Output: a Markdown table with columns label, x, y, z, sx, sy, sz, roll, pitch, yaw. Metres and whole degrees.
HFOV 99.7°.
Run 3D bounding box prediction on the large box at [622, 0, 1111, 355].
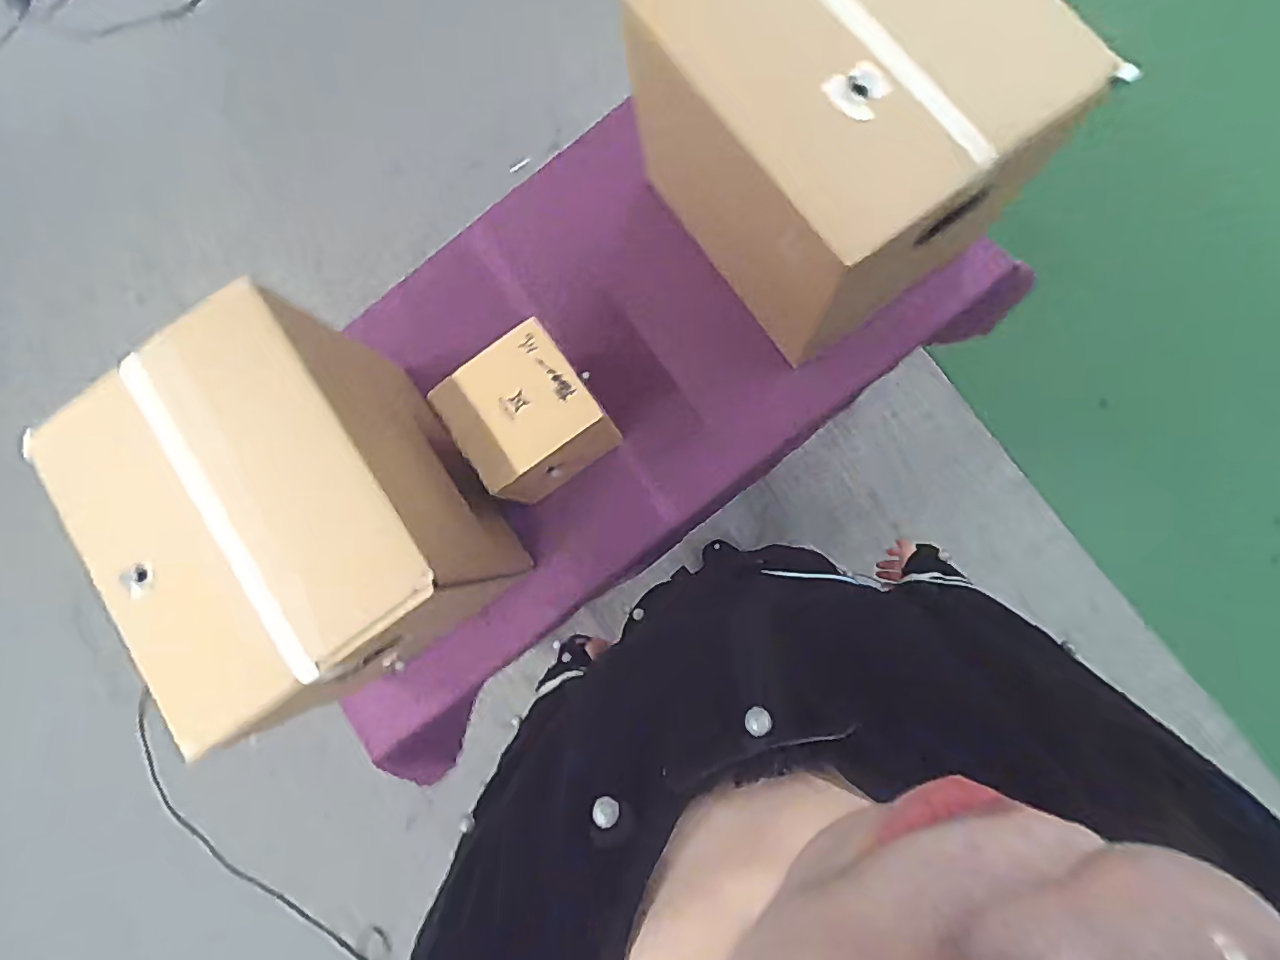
| label | x | y | z | sx | sy | sz | roll | pitch | yaw |
| --- | --- | --- | --- | --- | --- | --- | --- | --- | --- |
| large box | 0.225 | -0.444 | 0.689 | 0.320 | 0.320 | 0.408 | -35 | 82 | 2 |
